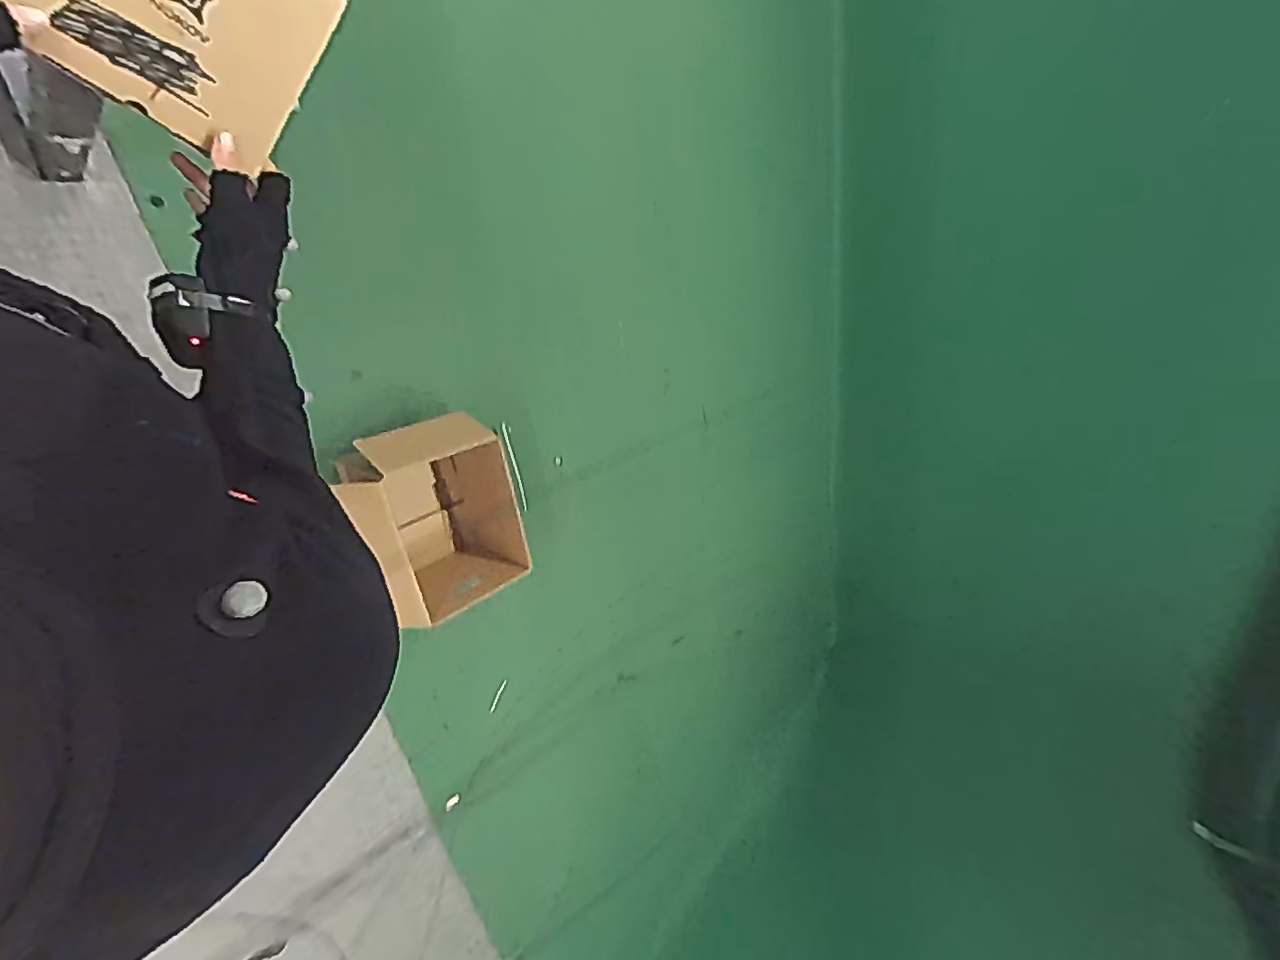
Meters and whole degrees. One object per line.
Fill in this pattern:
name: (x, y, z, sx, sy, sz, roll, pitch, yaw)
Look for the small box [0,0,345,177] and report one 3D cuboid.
small box: (-0.383, -0.399, 0.444, 0.179, 0.176, 0.168, -52, 145, 11)
